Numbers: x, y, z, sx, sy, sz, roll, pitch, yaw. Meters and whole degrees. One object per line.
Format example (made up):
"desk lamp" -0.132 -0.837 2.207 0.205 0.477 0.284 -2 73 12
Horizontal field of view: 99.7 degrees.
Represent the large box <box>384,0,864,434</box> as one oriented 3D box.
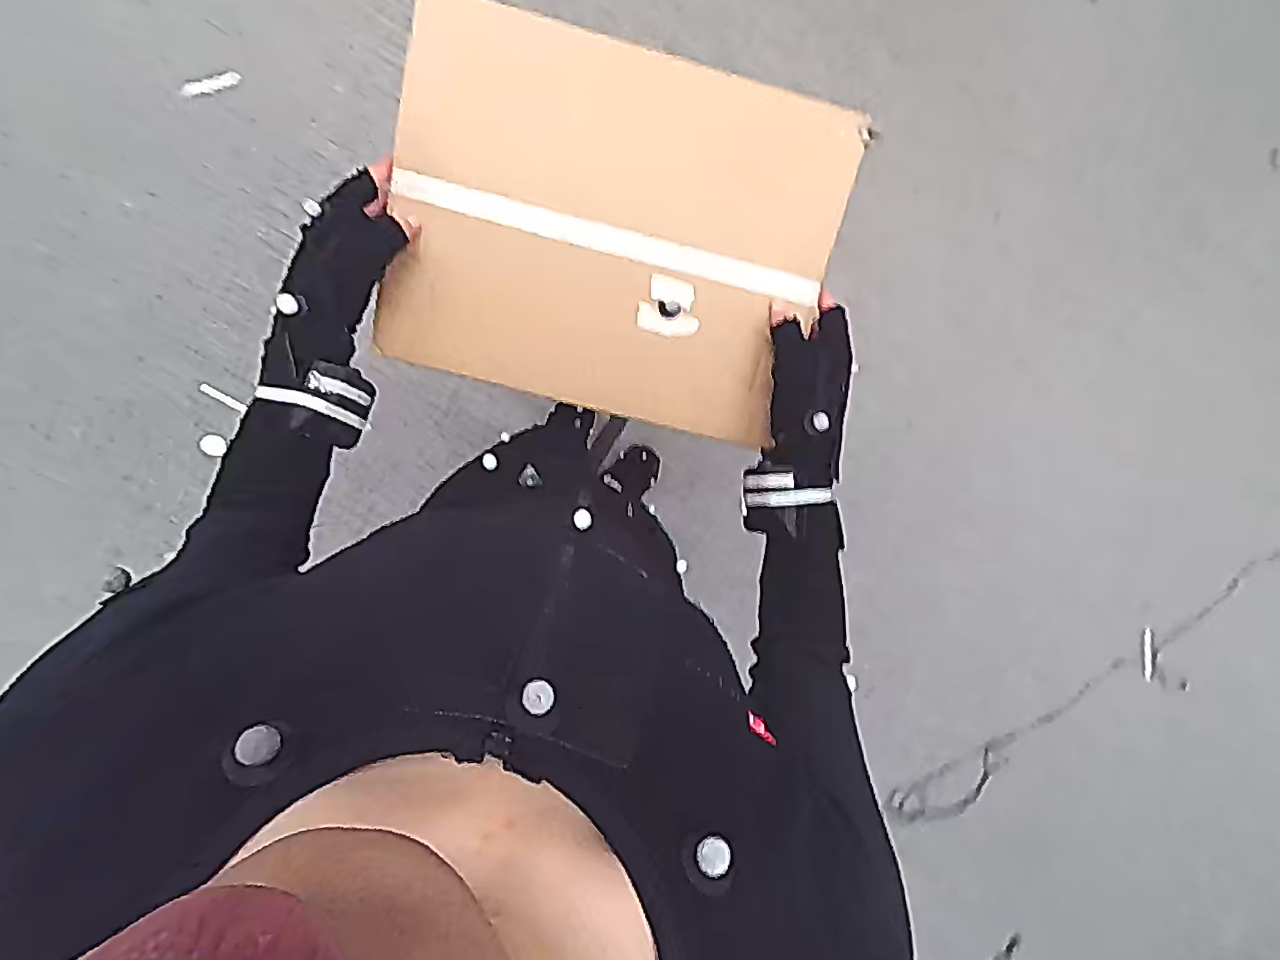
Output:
"large box" -0.030 -0.264 0.647 0.408 0.320 0.320 13 104 -5
